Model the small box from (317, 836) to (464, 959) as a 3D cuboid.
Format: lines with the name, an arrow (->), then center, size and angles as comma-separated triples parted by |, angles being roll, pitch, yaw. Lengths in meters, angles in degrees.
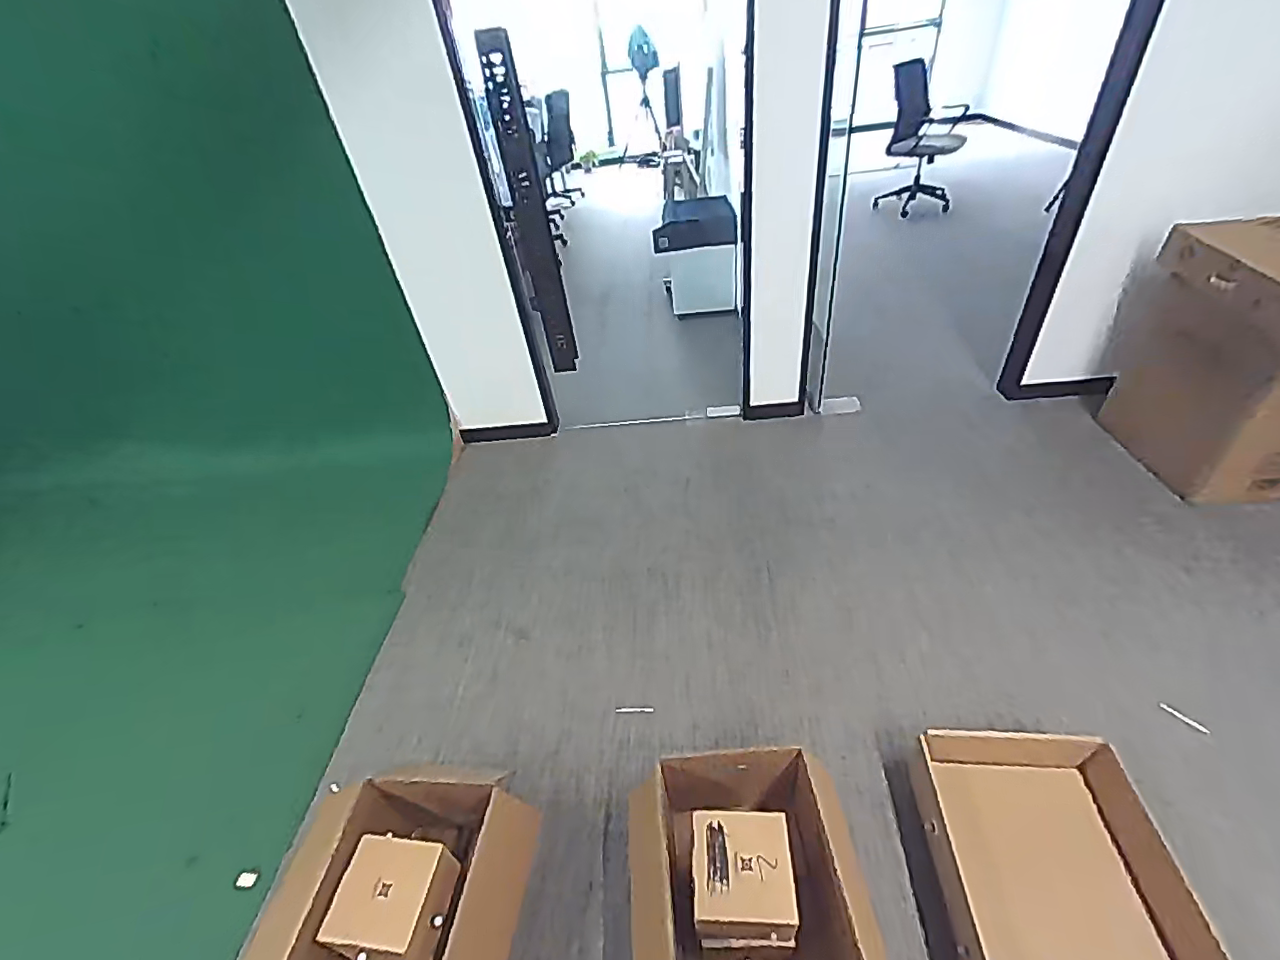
small box -> -0.466, 0.819, 1.046 | 0.179, 0.176, 0.168 | 0, 39, 9
